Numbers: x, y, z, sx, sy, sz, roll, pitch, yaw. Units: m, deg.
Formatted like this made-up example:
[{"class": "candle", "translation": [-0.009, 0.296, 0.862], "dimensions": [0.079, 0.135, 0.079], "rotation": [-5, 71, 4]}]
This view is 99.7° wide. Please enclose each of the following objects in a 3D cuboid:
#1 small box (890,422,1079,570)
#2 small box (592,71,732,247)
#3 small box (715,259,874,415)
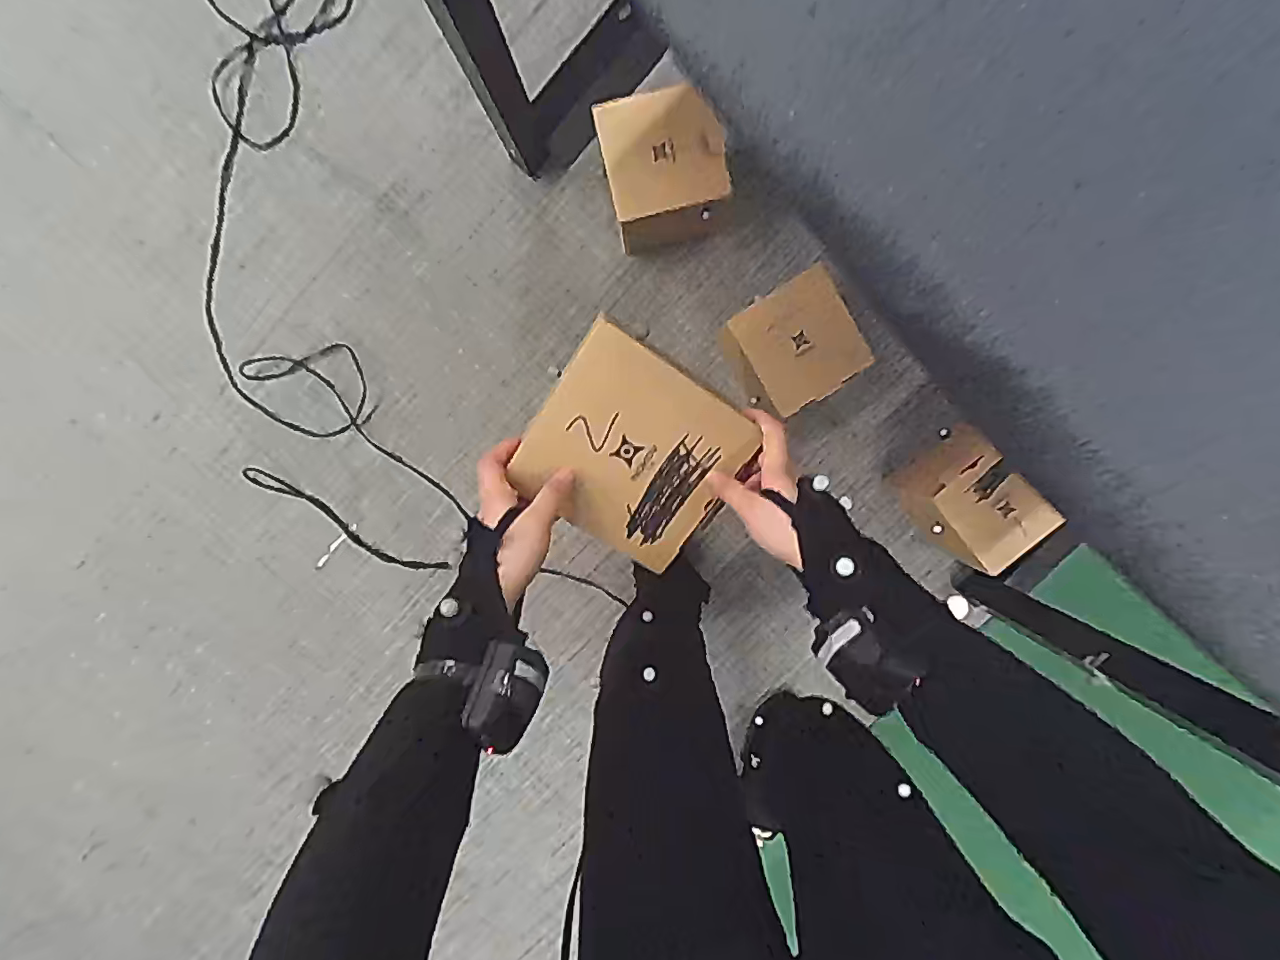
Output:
[{"class": "small box", "translation": [0.563, 0.018, 0.912], "dimensions": [0.168, 0.176, 0.179], "rotation": [-41, 96, 6]}, {"class": "small box", "translation": [0.034, -0.490, 0.855], "dimensions": [0.179, 0.176, 0.168], "rotation": [-14, 97, 2]}, {"class": "small box", "translation": [0.242, -0.223, 0.886], "dimensions": [0.168, 0.176, 0.179], "rotation": [-33, 94, 4]}]
